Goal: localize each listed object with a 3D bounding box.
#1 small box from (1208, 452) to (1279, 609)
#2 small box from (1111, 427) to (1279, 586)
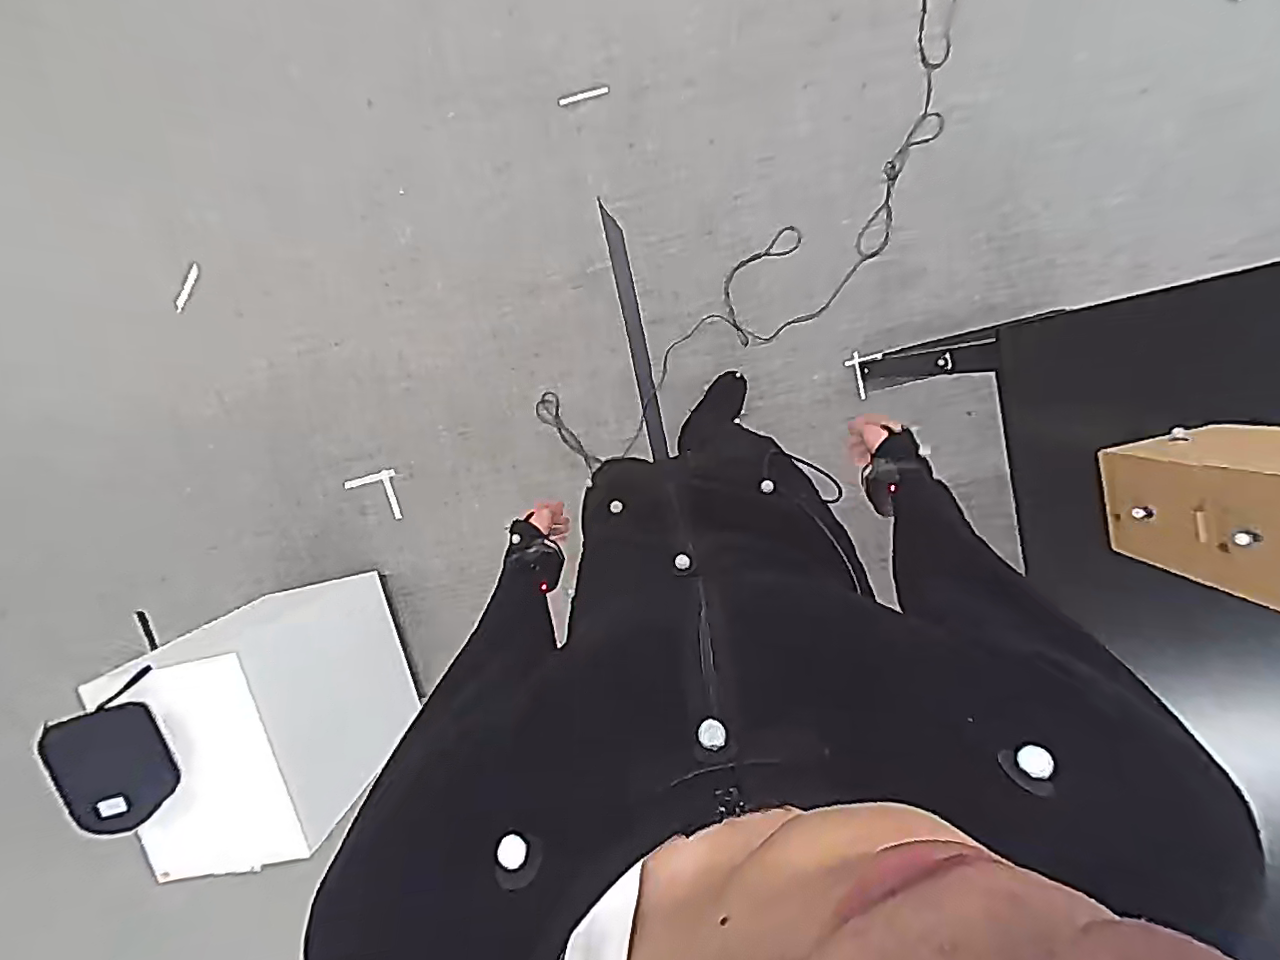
[{"bbox_3d":[0.793,0.054,0.586,0.179,0.176,0.168,-14,97,6],"label":"small box"},{"bbox_3d":[0.803,0.028,0.749,0.179,0.176,0.168,-14,98,7],"label":"small box"}]
